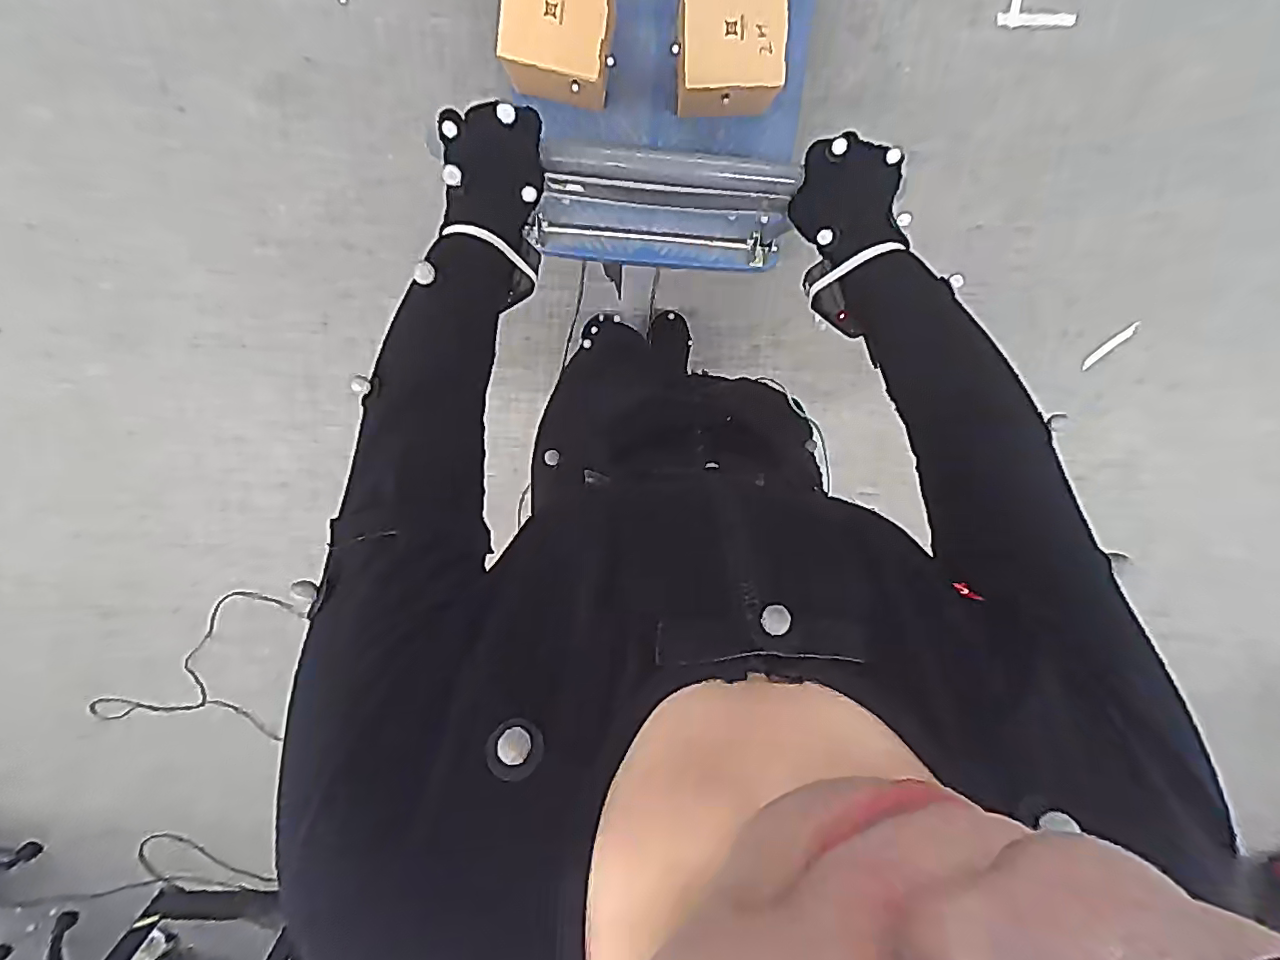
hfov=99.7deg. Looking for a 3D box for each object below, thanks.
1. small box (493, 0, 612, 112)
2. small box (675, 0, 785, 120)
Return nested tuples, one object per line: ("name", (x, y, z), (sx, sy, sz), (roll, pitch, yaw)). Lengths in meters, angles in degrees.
("small box", (-0.150, -0.791, 0.967), (0.179, 0.176, 0.168), (9, 108, -5))
("small box", (0.154, -0.771, 0.977), (0.179, 0.176, 0.168), (-2, 109, 0))
